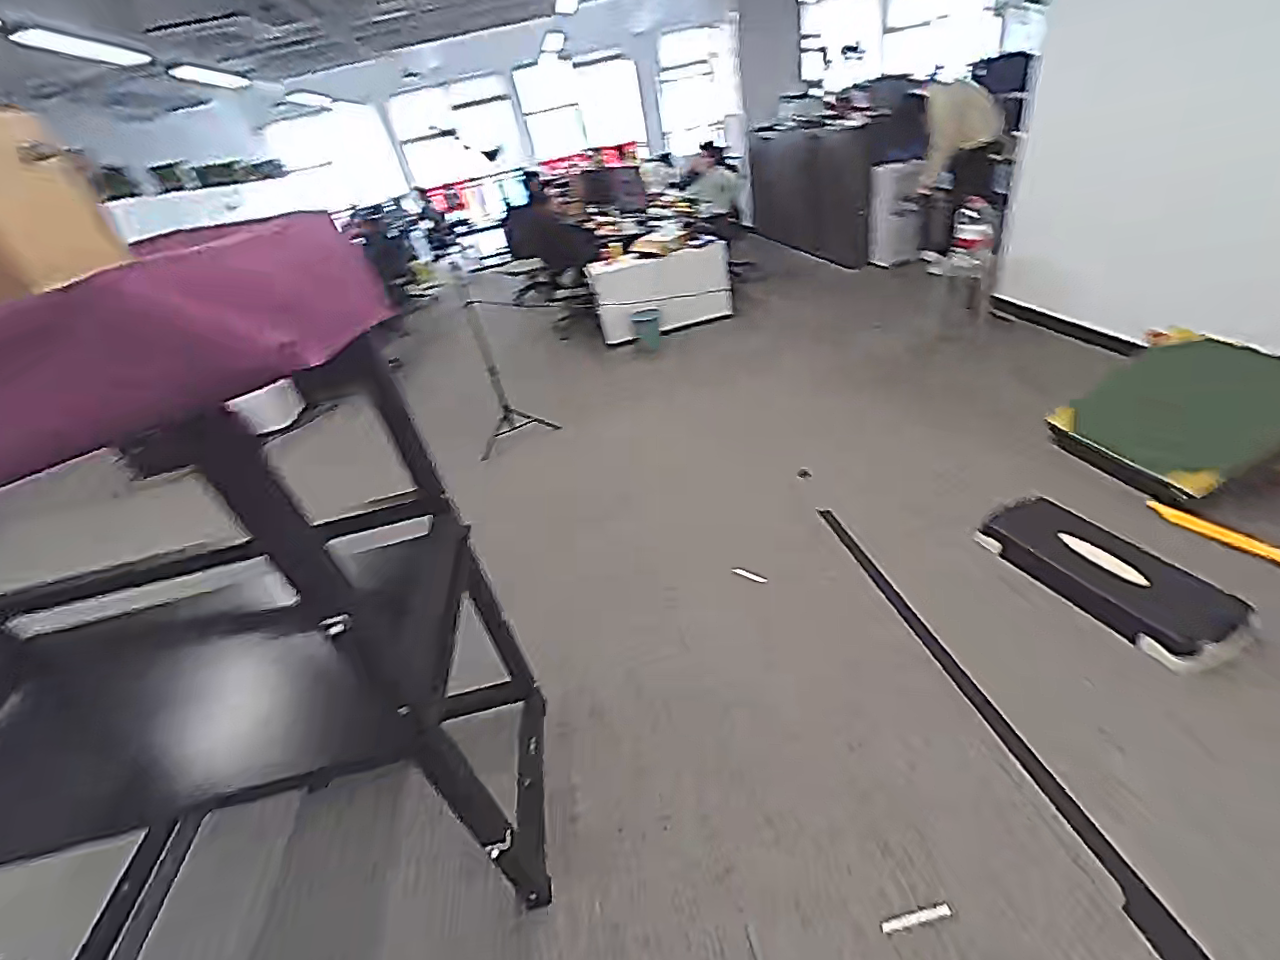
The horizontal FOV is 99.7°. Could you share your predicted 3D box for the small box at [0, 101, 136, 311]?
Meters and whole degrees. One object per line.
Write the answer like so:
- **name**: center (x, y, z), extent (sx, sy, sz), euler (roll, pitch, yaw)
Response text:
- **small box**: center (-0.674, -0.265, 0.542), extent (0.168, 0.176, 0.179), euler (-18, 32, -6)
